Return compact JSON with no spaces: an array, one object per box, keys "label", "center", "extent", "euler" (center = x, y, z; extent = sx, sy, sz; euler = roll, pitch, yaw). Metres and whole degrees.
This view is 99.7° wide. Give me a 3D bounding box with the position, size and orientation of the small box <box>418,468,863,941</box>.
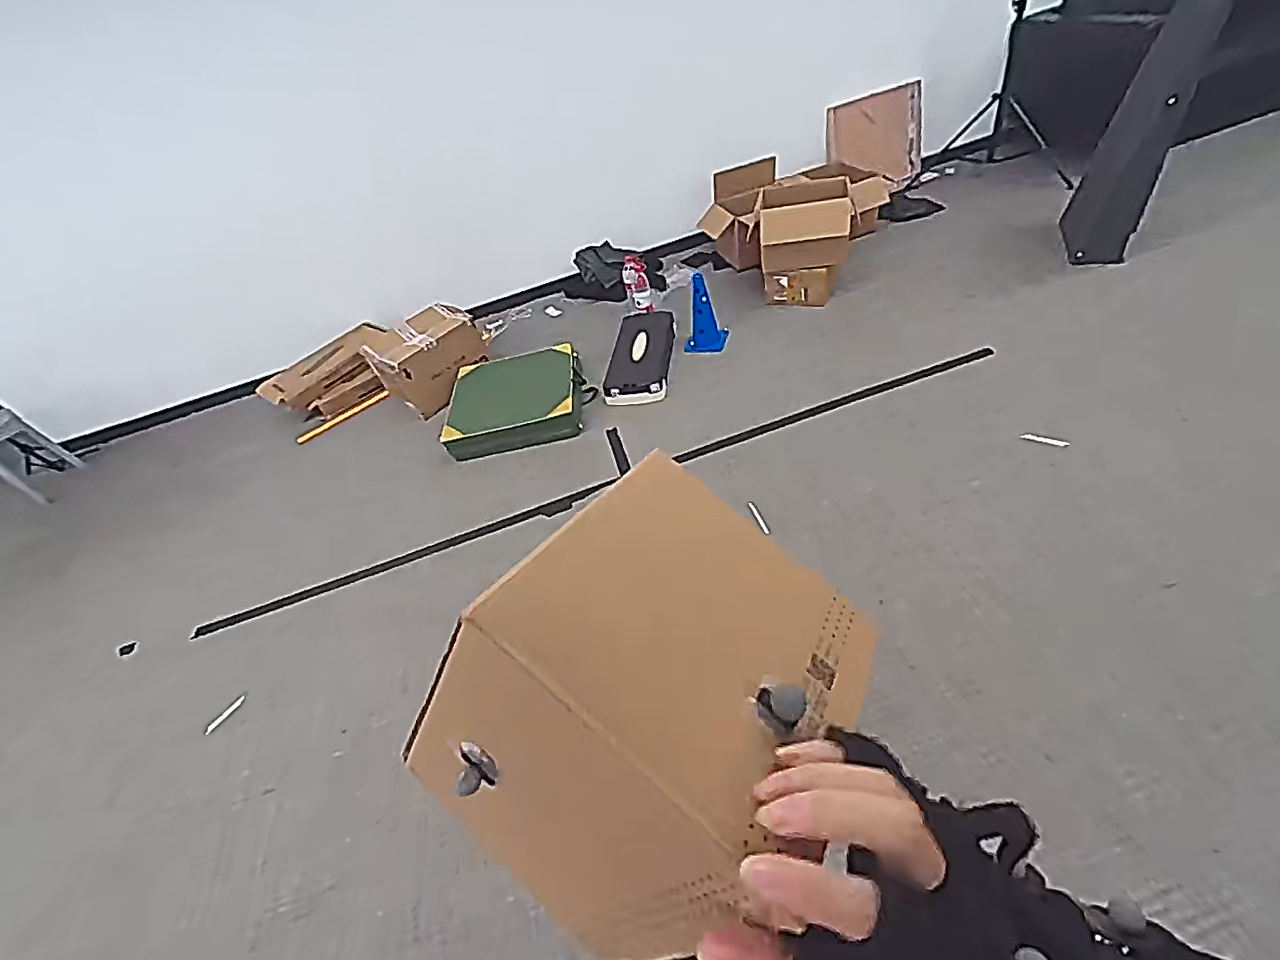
[{"label":"small box","center":[-0.001,0.132,0.328],"extent":[0.176,0.179,0.168],"euler":[38,40,7]}]
